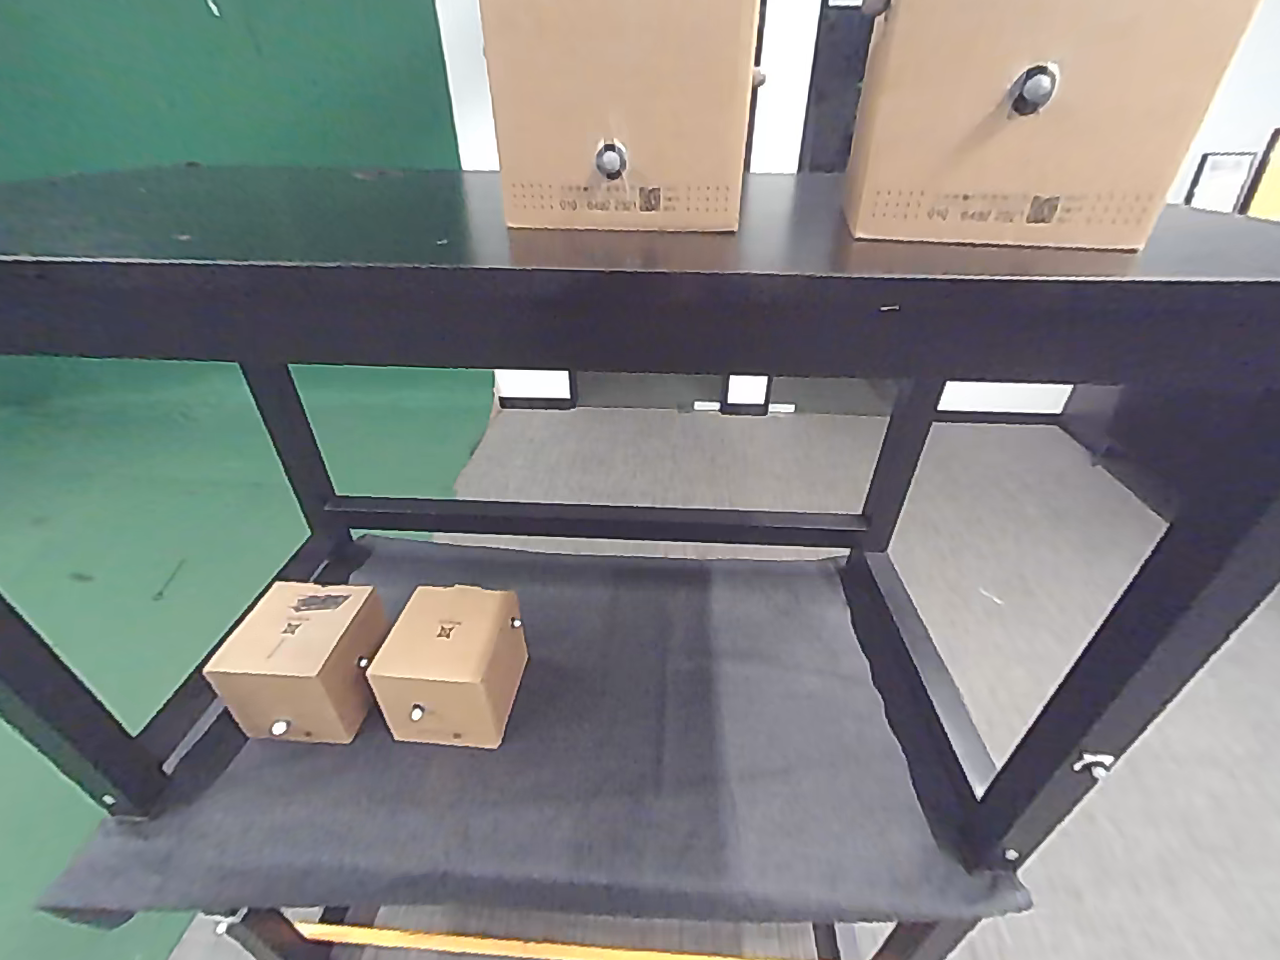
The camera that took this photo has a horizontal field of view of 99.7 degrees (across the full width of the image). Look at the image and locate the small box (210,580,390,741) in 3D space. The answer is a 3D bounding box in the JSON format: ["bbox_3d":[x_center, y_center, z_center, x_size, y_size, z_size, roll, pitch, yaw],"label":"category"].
[{"bbox_3d":[-0.518,0.284,0.864,0.168,0.176,0.179,2,34,2],"label":"small box"}]

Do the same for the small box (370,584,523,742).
[{"bbox_3d":[-0.291,0.291,0.862,0.168,0.176,0.179,3,33,3],"label":"small box"}]

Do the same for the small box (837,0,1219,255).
[{"bbox_3d":[0.239,-0.261,0.375,0.168,0.176,0.179,9,34,12],"label":"small box"}]
